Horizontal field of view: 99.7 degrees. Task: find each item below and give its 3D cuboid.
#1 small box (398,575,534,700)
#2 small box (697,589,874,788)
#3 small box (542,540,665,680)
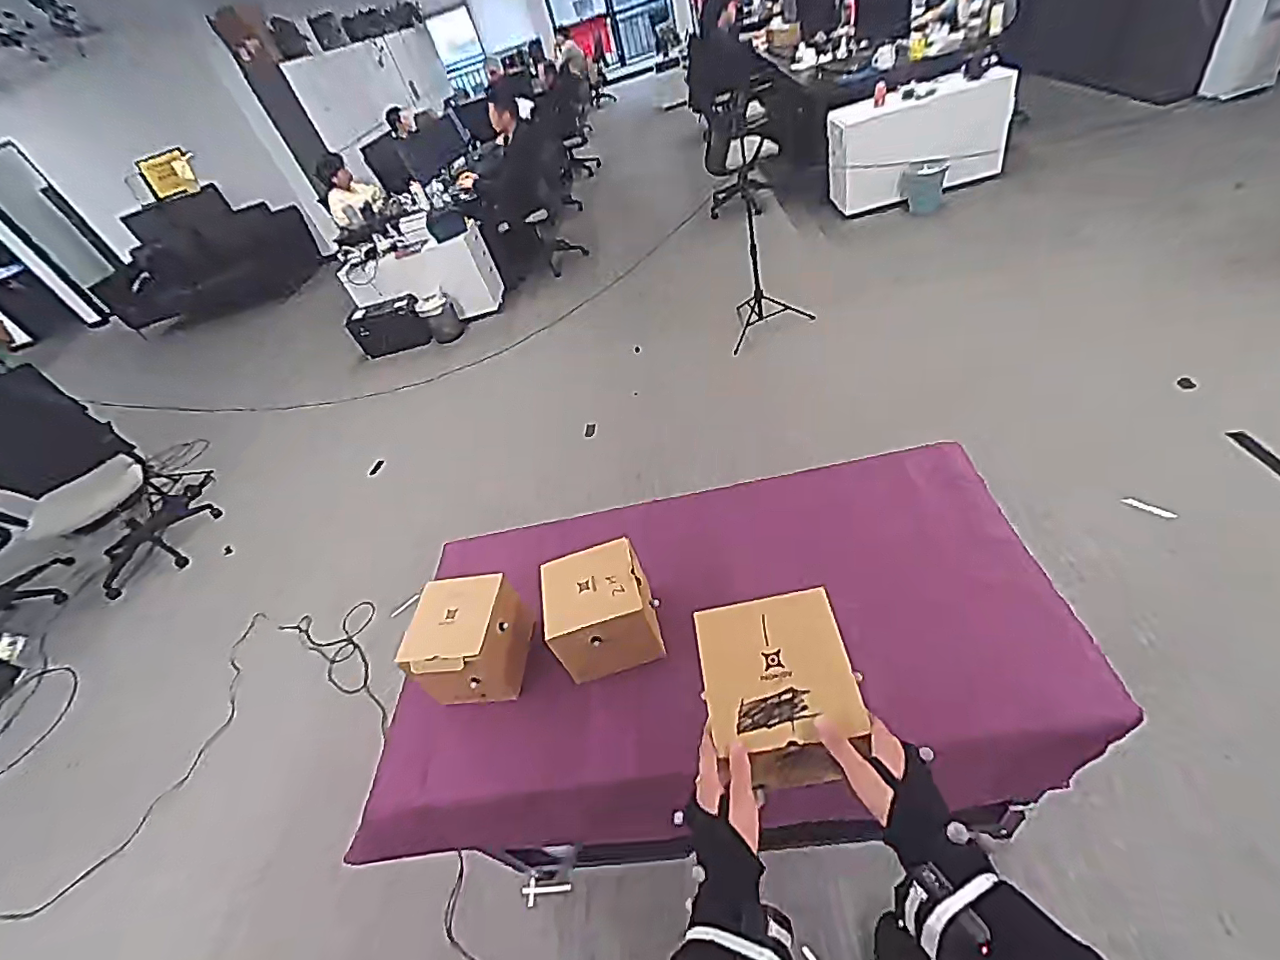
[{"bbox_3d":[-0.320,0.309,1.037,0.168,0.176,0.179,-8,43,12],"label":"small box"},{"bbox_3d":[0.176,0.264,0.666,0.168,0.176,0.179,-14,47,9],"label":"small box"},{"bbox_3d":[-0.068,0.246,1.006,0.179,0.176,0.168,-18,42,2],"label":"small box"}]
